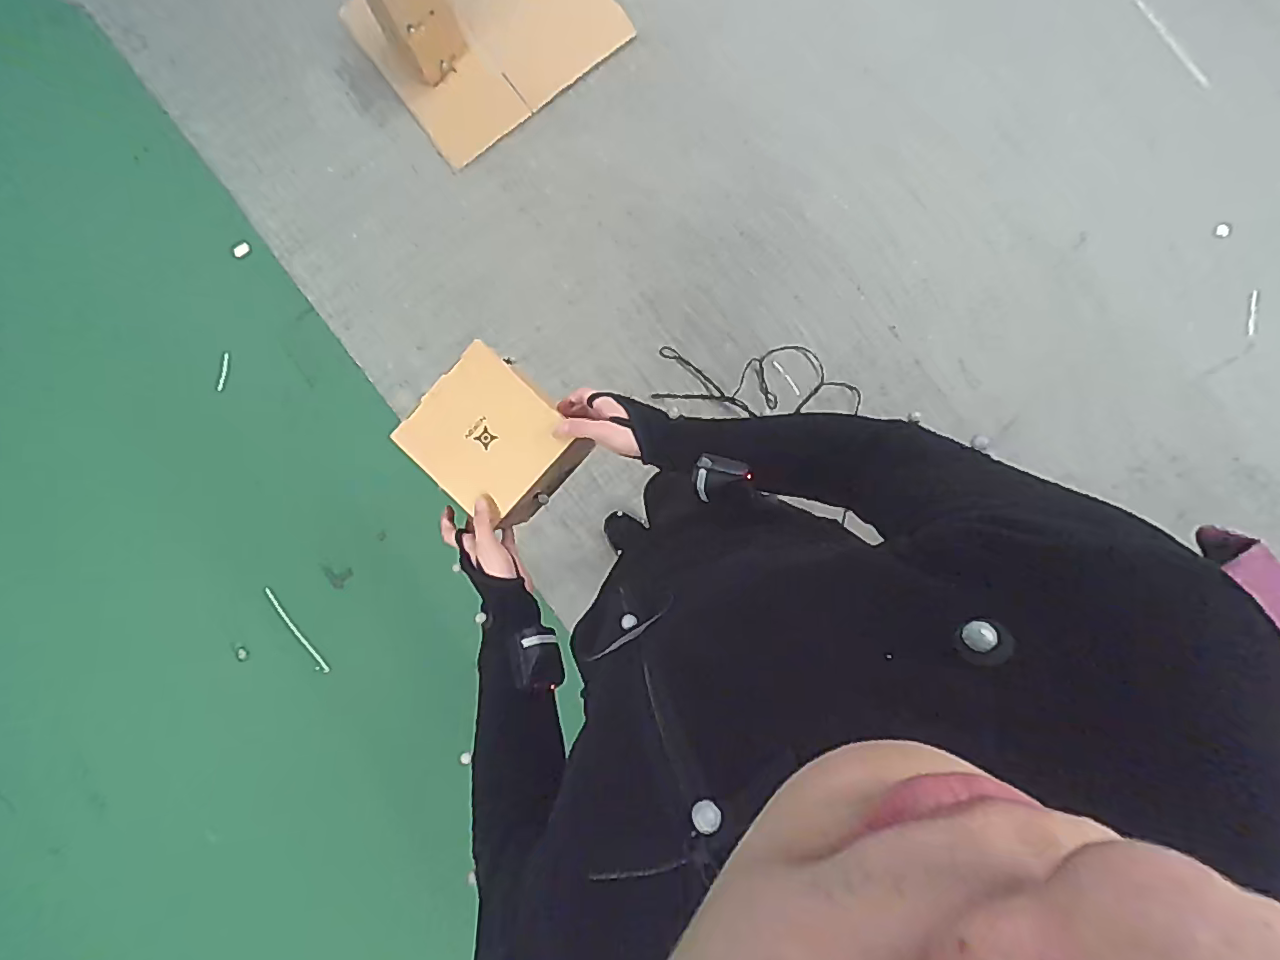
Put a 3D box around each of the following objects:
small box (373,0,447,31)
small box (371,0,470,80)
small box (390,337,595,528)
[{"bbox_3d":[-0.623,-1.300,1.371,0.168,0.176,0.179,-41,89,1],"label":"small box"},{"bbox_3d":[-0.620,-1.301,1.535,0.168,0.176,0.179,-44,90,1],"label":"small box"},{"bbox_3d":[-0.182,-0.059,0.727,0.179,0.176,0.168,43,93,4],"label":"small box"}]
